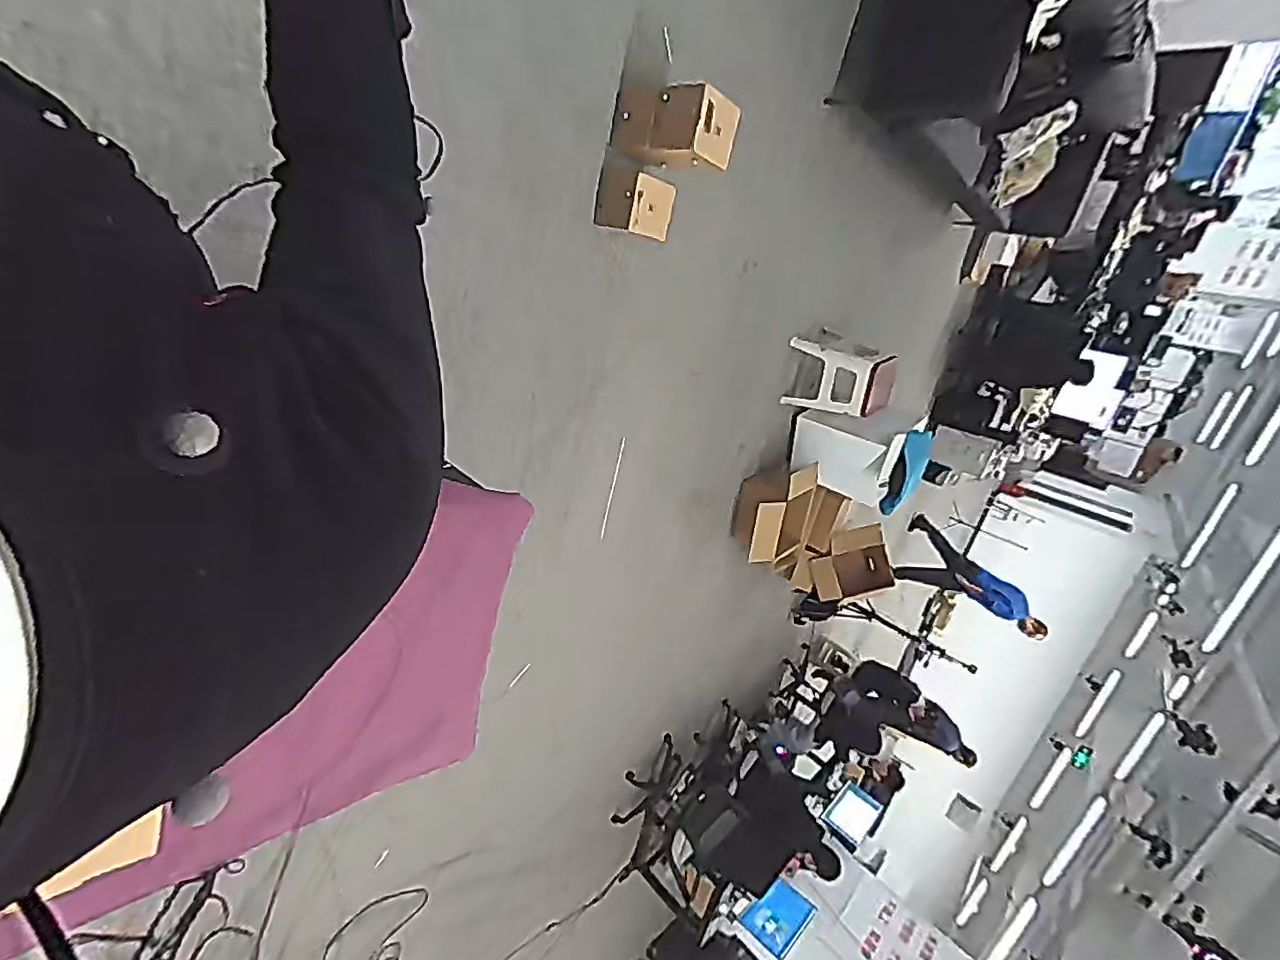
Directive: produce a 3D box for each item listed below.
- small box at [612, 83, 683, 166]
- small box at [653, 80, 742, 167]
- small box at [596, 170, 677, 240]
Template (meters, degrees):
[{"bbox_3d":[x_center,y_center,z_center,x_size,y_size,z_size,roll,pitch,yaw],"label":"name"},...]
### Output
[{"bbox_3d":[0.044,-1.095,1.674,0.179,0.176,0.168,-6,116,-47],"label":"small box"},{"bbox_3d":[0.163,-1.033,1.580,0.179,0.176,0.168,-8,118,-47],"label":"small box"},{"bbox_3d":[-0.014,-0.886,1.738,0.179,0.176,0.168,-10,119,-47],"label":"small box"}]
